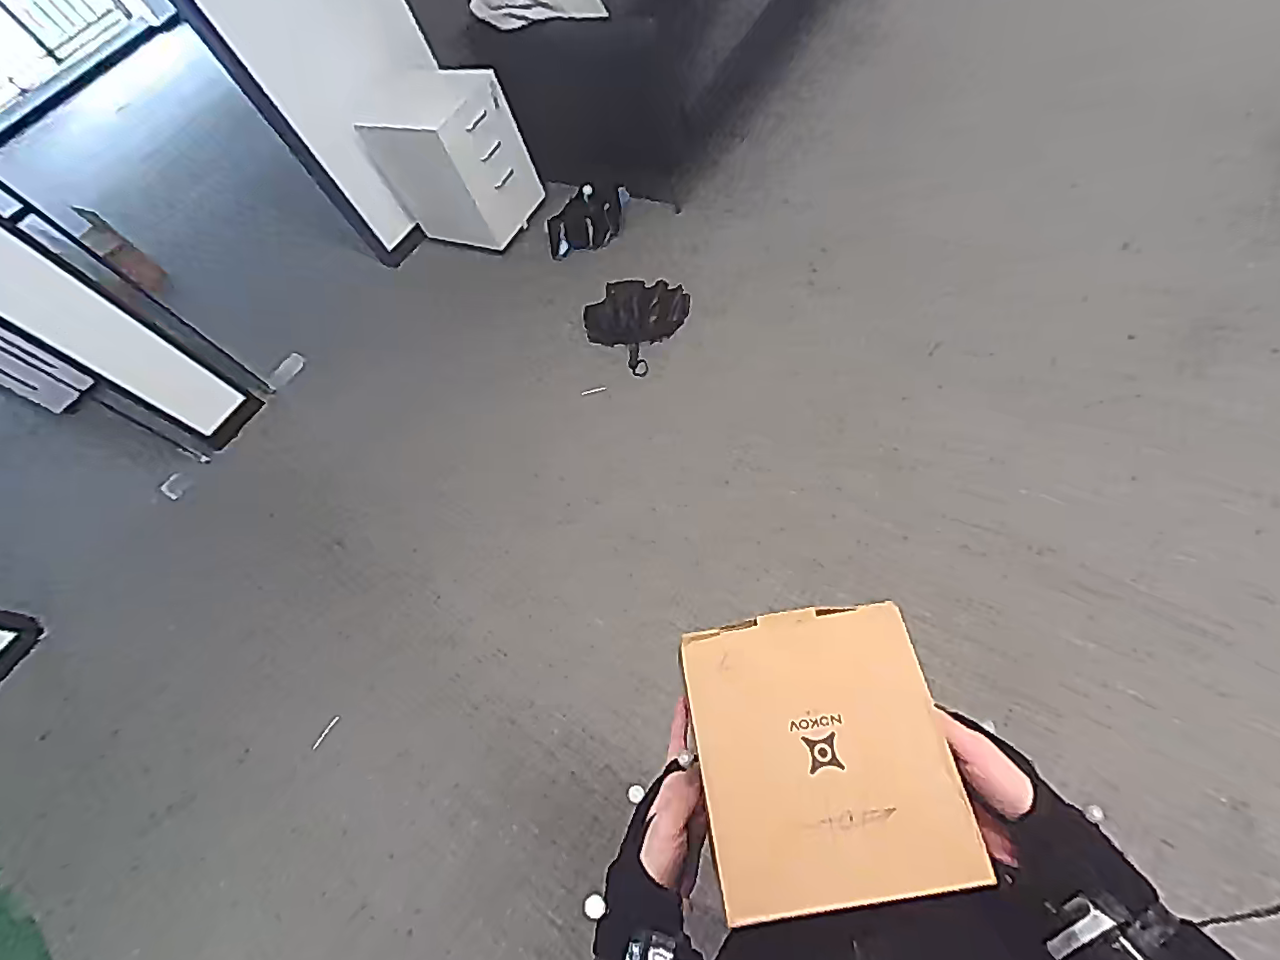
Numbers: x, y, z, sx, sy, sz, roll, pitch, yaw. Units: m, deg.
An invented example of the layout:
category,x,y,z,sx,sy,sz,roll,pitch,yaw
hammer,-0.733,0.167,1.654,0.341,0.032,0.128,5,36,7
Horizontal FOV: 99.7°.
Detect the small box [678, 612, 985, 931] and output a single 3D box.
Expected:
category,x,y,z,sx,sy,sz,roll,pitch,yaw
small box,0.124,0.220,0.436,0.168,0.176,0.179,-9,65,0
